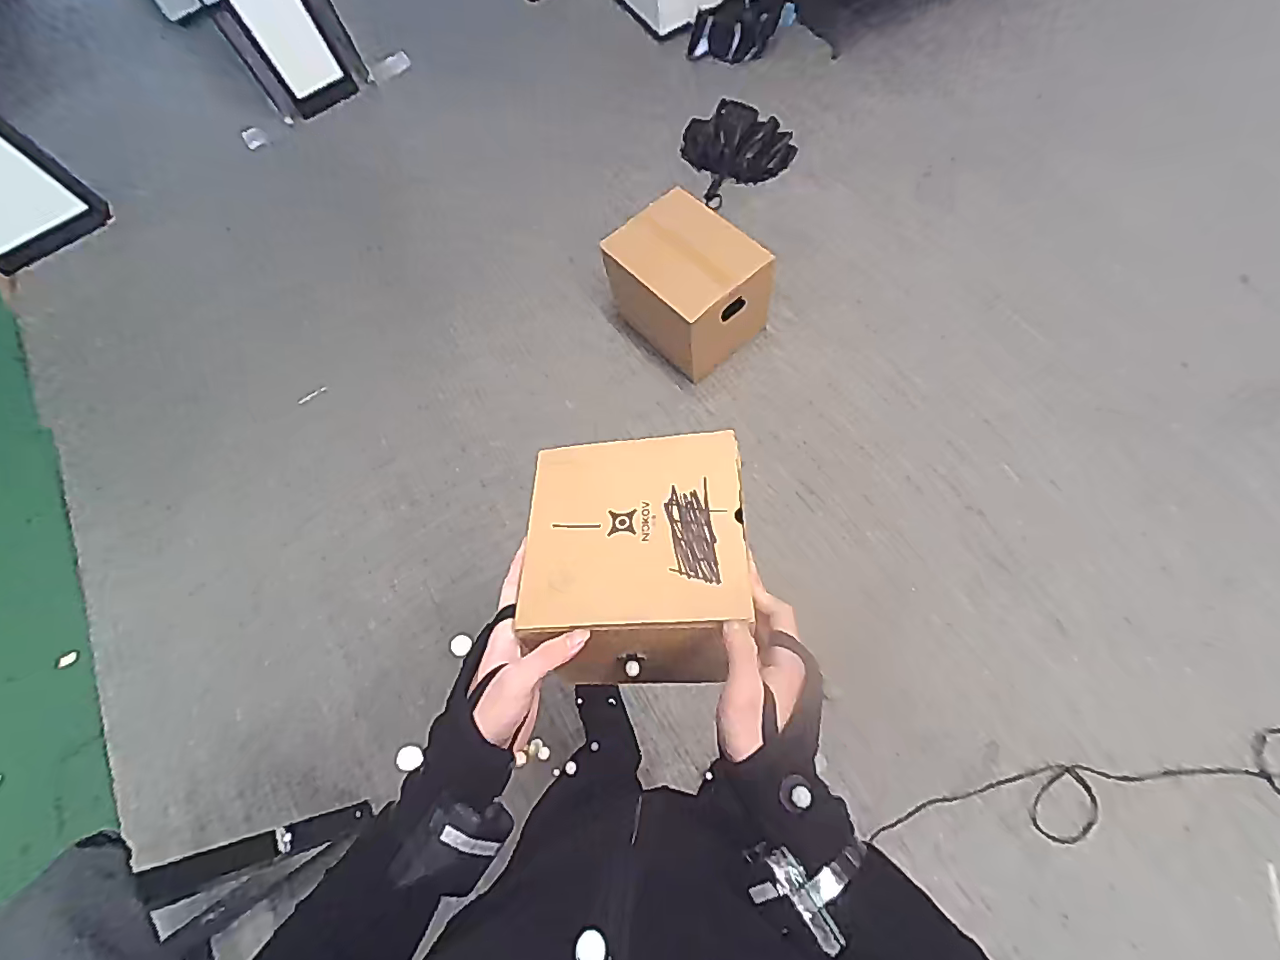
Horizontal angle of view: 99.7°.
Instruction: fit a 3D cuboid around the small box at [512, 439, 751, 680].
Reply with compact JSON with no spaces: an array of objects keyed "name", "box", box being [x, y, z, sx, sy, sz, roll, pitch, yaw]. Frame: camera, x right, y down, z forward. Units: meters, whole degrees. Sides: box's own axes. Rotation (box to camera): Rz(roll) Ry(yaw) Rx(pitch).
[{"name":"small box","box":[0.003,0.079,0.497,0.179,0.176,0.168,-3,56,7]}]
